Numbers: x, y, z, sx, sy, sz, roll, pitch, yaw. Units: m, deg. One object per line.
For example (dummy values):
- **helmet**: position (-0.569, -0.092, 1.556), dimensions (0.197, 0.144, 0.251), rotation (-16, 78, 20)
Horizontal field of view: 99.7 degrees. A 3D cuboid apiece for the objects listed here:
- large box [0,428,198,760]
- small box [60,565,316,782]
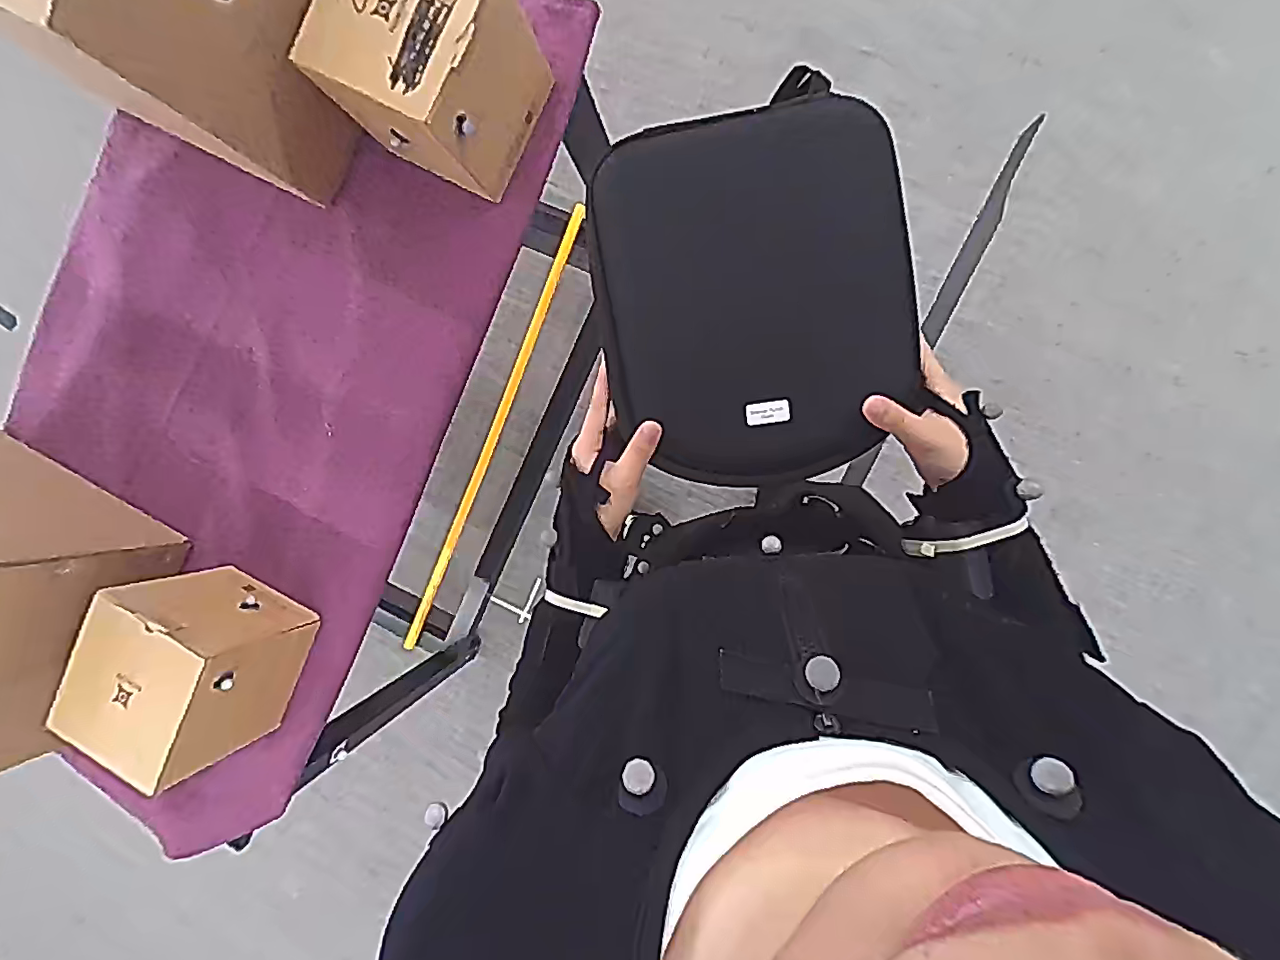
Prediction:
- **large box**: position (-0.900, 0.128, 0.673), dimensions (0.408, 0.320, 0.320), rotation (25, 94, 5)
- **small box**: position (-0.559, 0.229, 0.691), dimensions (0.168, 0.176, 0.179), rotation (24, 95, 9)
